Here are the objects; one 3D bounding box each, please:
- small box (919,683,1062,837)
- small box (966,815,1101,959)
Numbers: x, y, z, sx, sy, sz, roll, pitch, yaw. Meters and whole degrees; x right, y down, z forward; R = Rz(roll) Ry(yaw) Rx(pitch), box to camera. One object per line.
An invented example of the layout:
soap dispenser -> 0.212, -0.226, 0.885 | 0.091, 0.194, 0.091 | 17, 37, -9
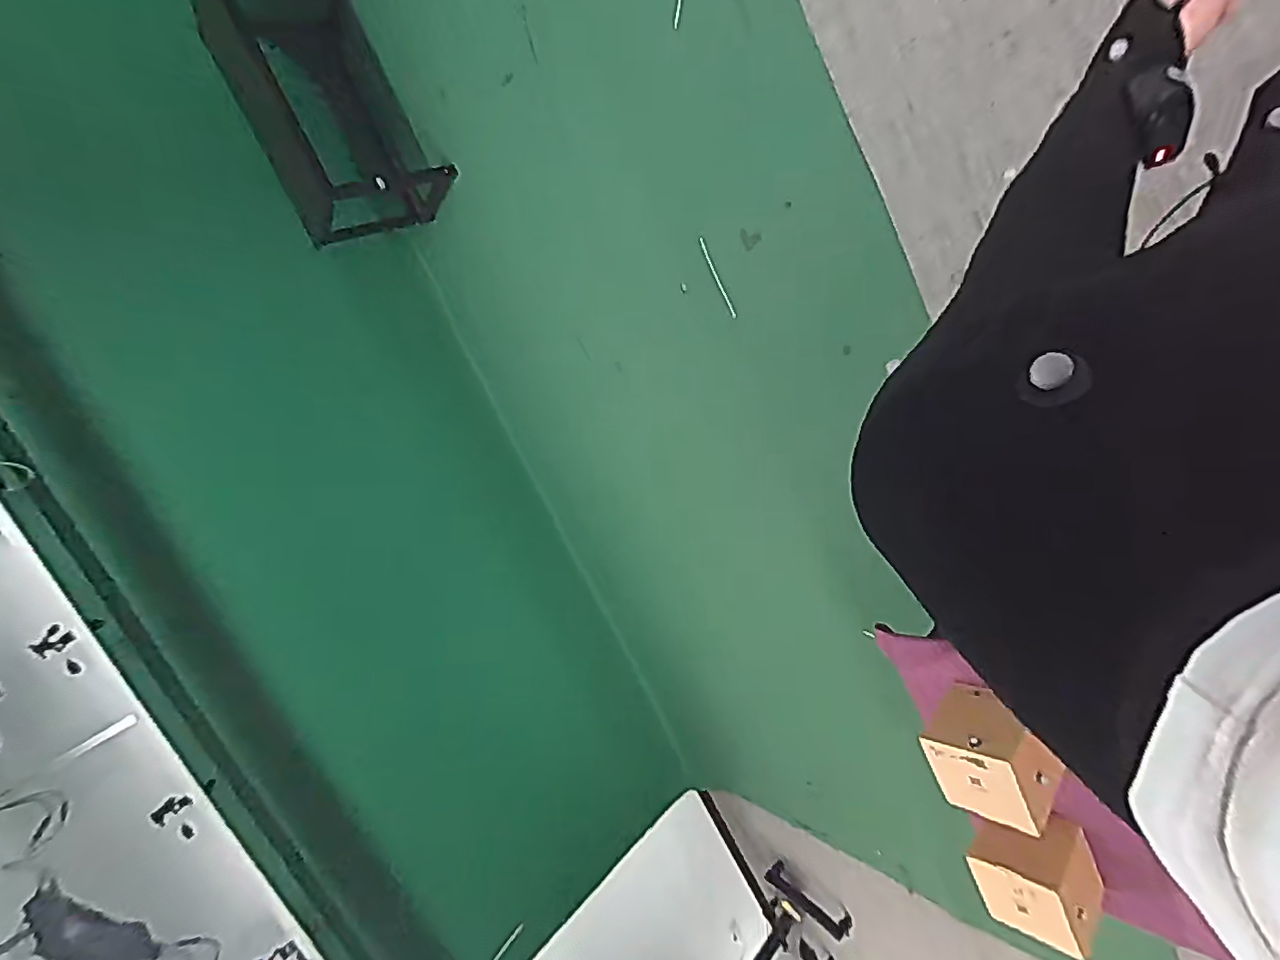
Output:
small box -> 0.689, 0.535, 1.058 | 0.168, 0.176, 0.179 | -12, 109, 55
small box -> 0.816, 0.816, 1.118 | 0.168, 0.176, 0.179 | -12, 105, 54
